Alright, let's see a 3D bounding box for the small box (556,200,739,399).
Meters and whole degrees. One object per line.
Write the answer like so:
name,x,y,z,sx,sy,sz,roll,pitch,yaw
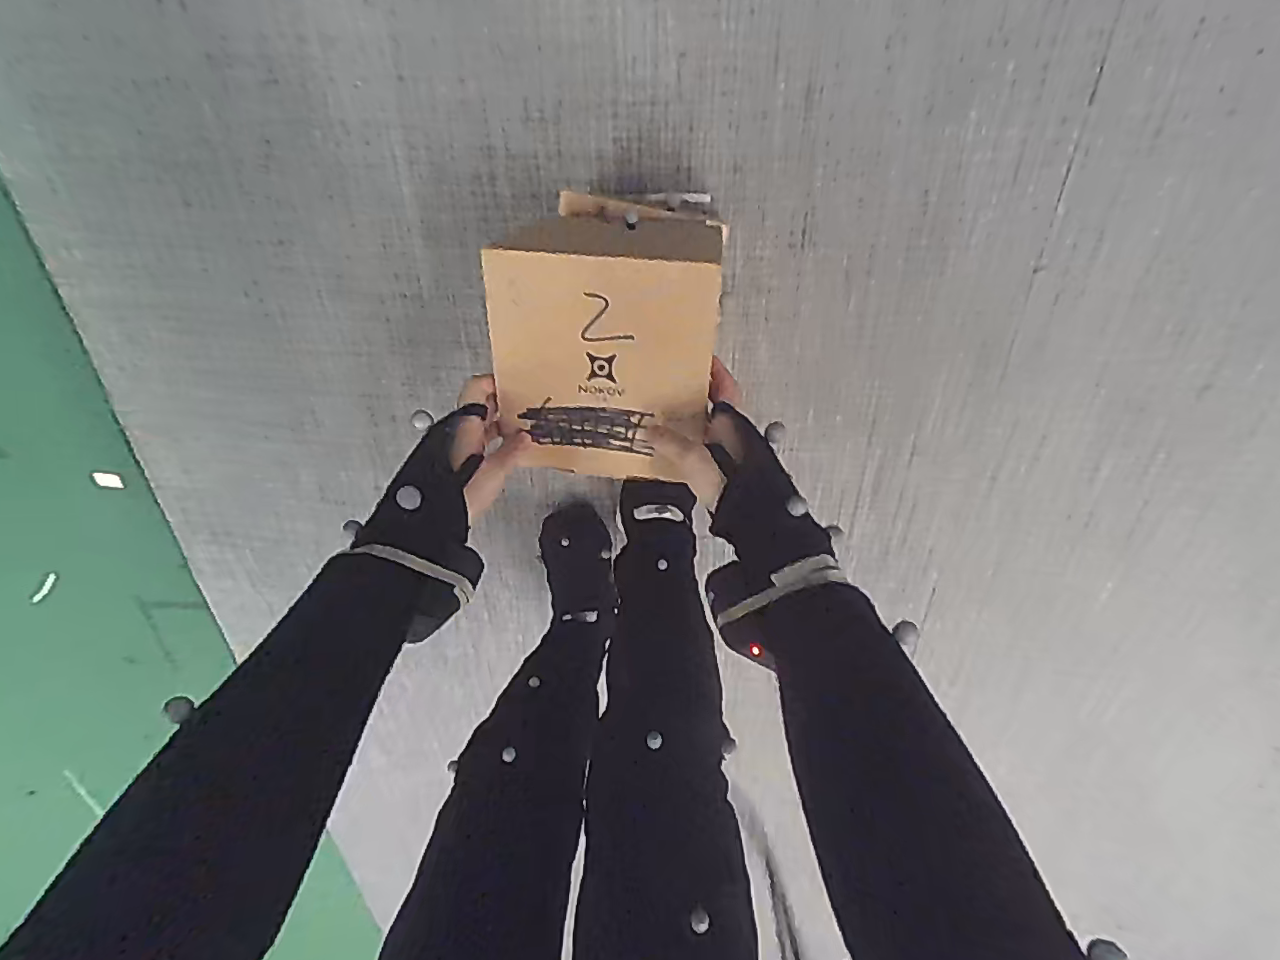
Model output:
small box,0.007,-0.220,0.637,0.168,0.176,0.179,12,120,-1
